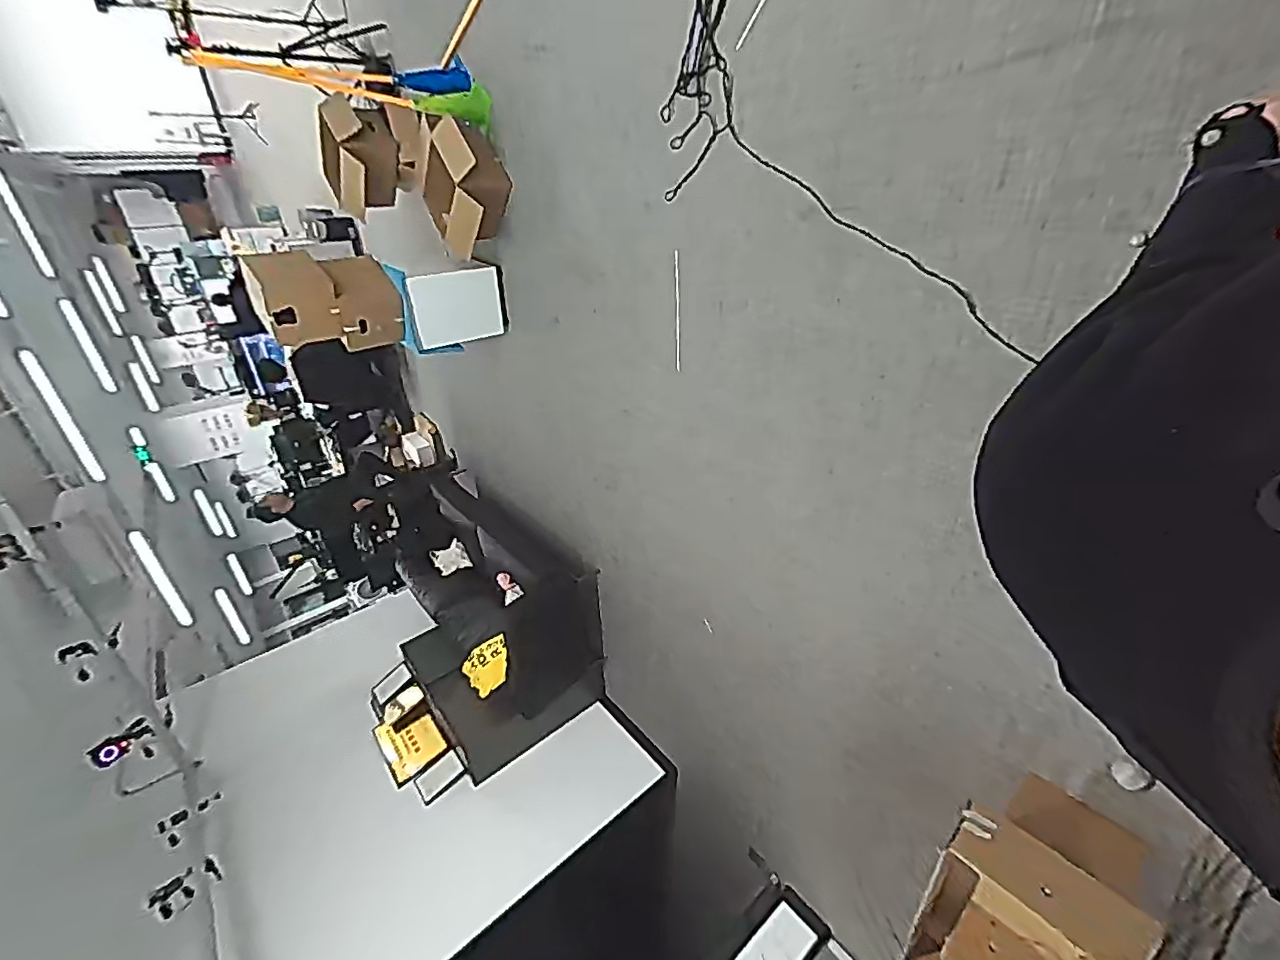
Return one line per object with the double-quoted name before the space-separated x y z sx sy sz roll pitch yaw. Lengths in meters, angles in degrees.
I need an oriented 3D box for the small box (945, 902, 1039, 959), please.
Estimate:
"small box" 0.909 1.269 1.411 0.168 0.176 0.179 24 124 47
